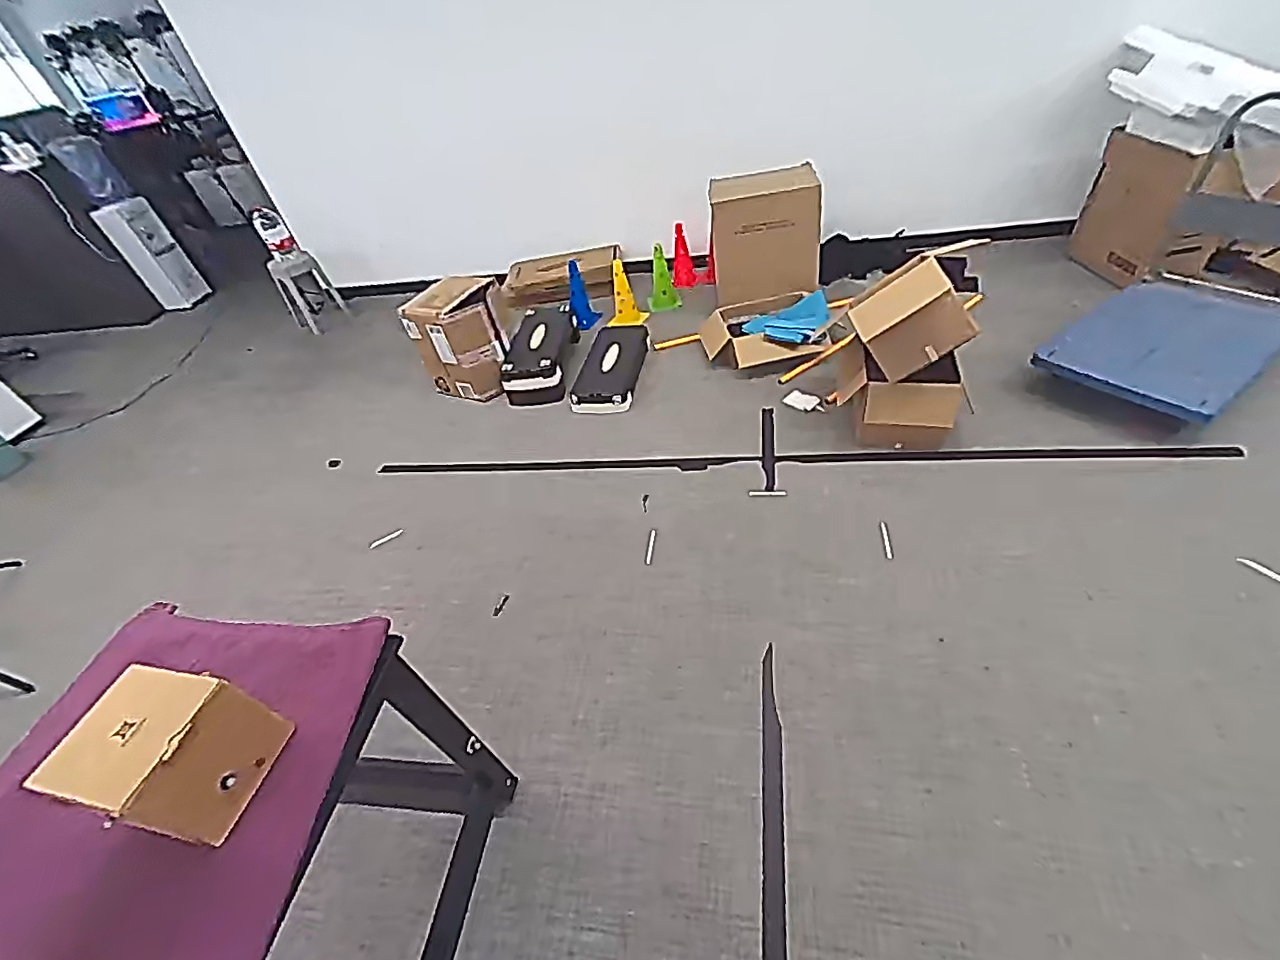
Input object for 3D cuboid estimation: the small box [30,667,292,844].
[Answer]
[{"bbox_3d":[-0.652,0.386,0.760,0.179,0.176,0.168,1,45,15],"label":"small box"}]
